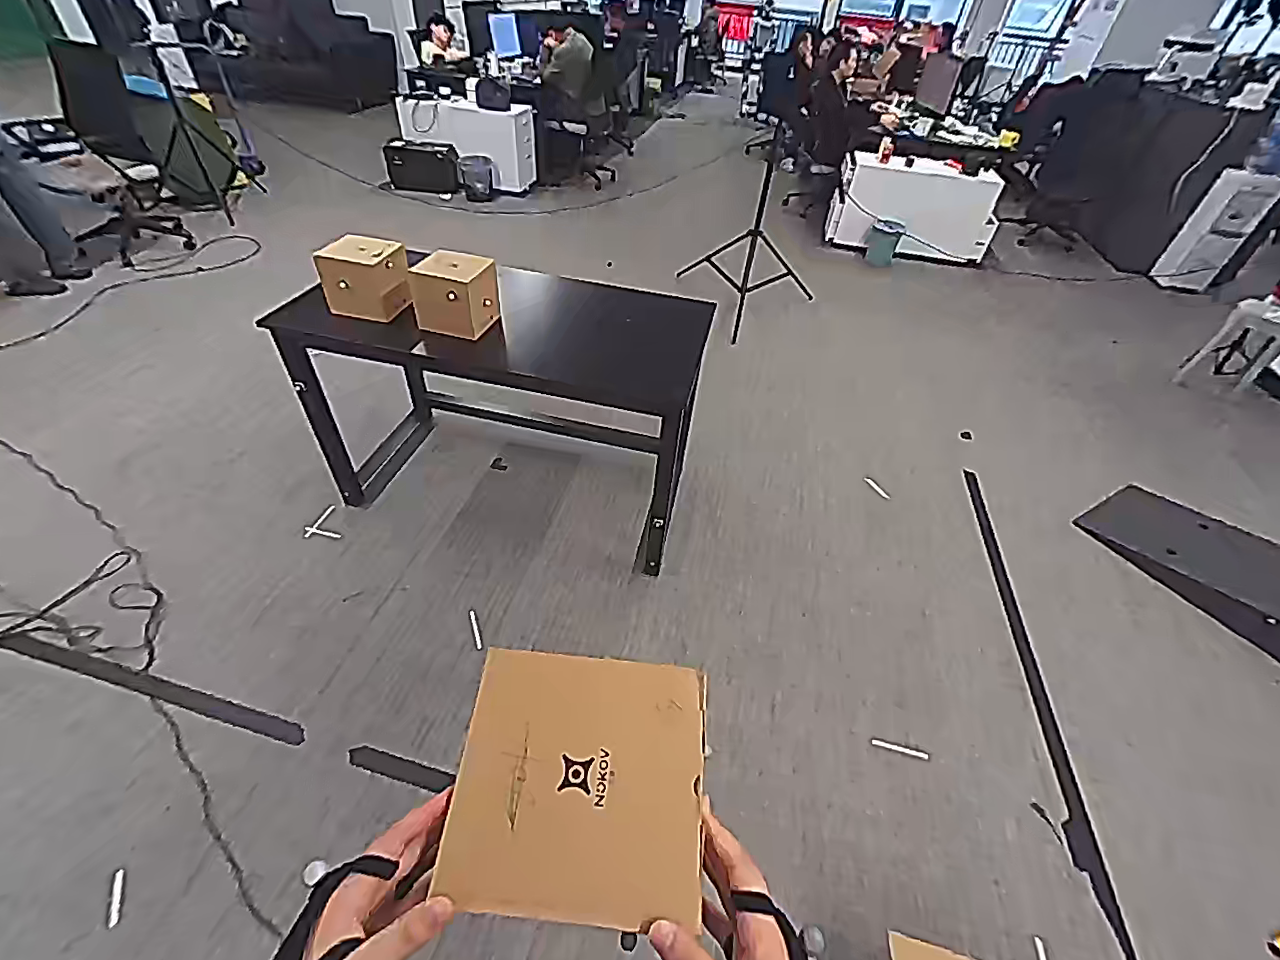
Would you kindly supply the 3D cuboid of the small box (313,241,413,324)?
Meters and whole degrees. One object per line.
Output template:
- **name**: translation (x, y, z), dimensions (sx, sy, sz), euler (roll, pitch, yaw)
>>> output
- **small box**: translation (-0.778, -0.561, 1.541), dimensions (0.179, 0.176, 0.168), euler (10, 43, 5)

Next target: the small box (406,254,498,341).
- **small box**: translation (-0.513, -0.505, 1.509), dimensions (0.179, 0.176, 0.168), euler (13, 43, 8)
